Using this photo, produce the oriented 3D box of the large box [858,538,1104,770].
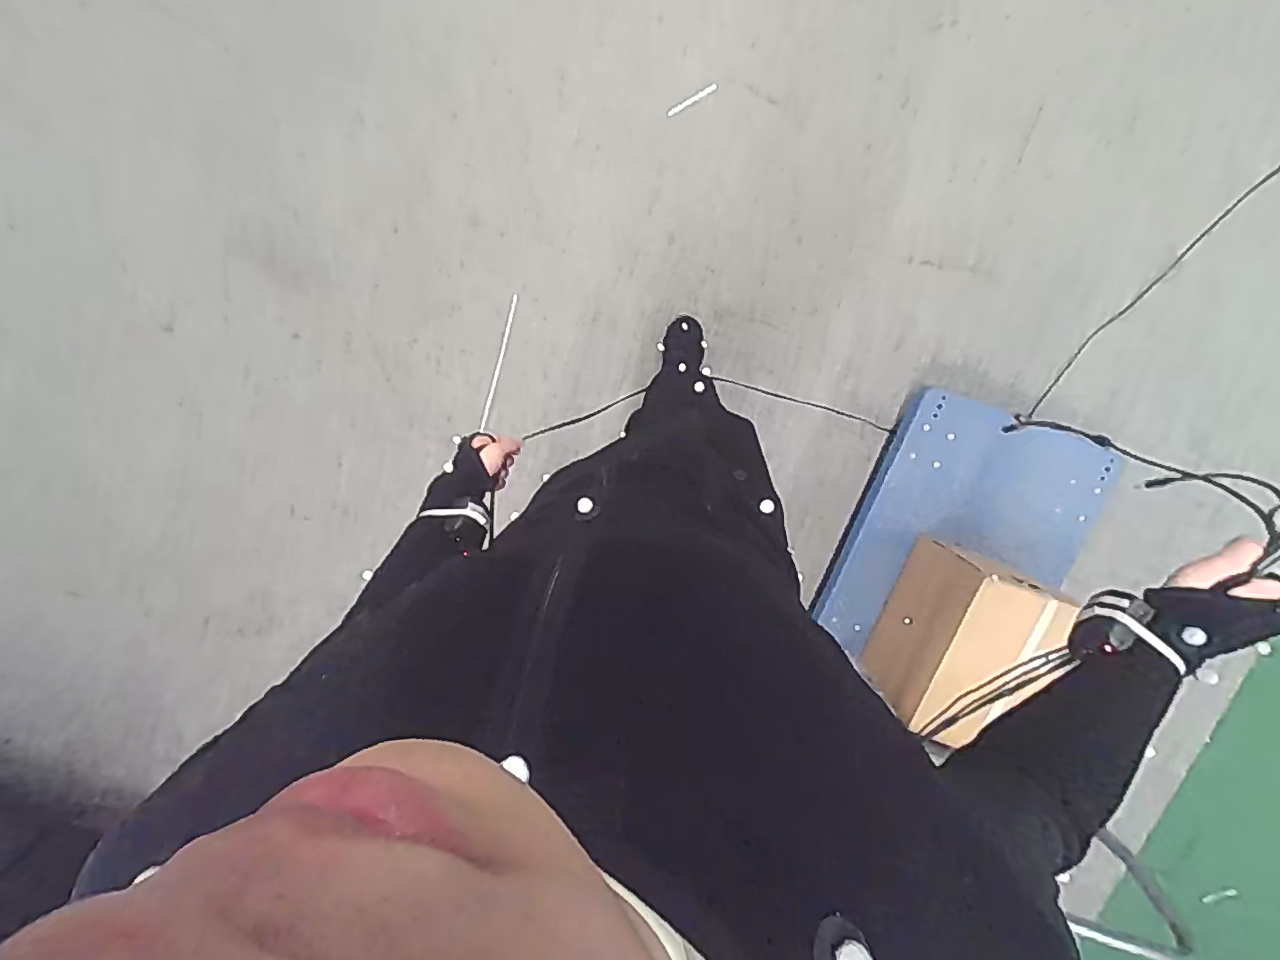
[{"bbox_3d":[0.812,0.414,1.355,0.320,0.320,0.408,20,101,-3],"label":"large box"}]
